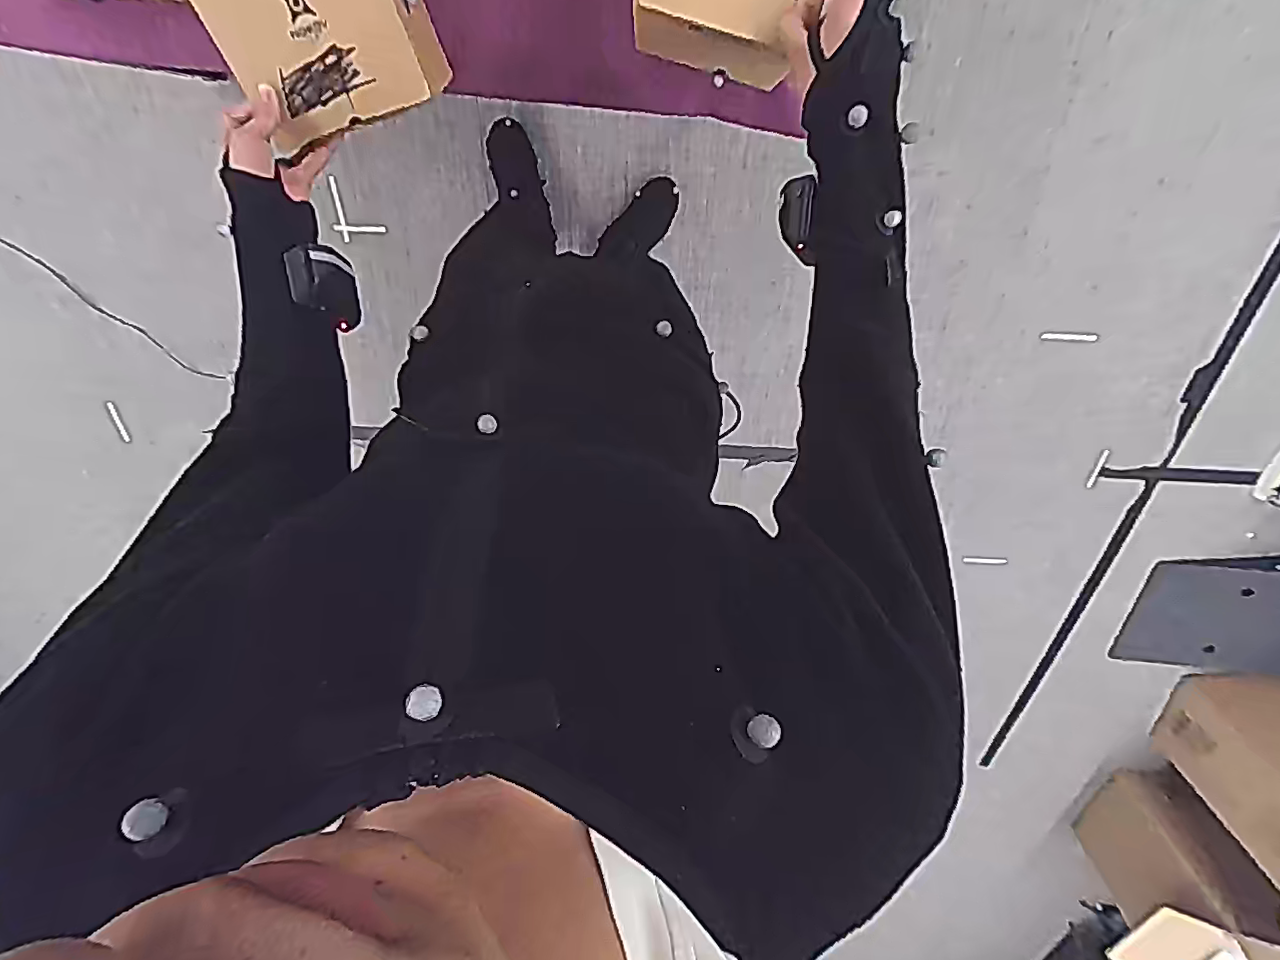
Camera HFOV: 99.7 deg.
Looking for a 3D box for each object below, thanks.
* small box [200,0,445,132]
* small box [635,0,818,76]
[{"bbox_3d":[-0.312,-0.482,0.534,0.168,0.176,0.179,-17,132,3],"label":"small box"},{"bbox_3d":[0.093,-0.522,0.511,0.168,0.176,0.179,13,116,-5],"label":"small box"}]
